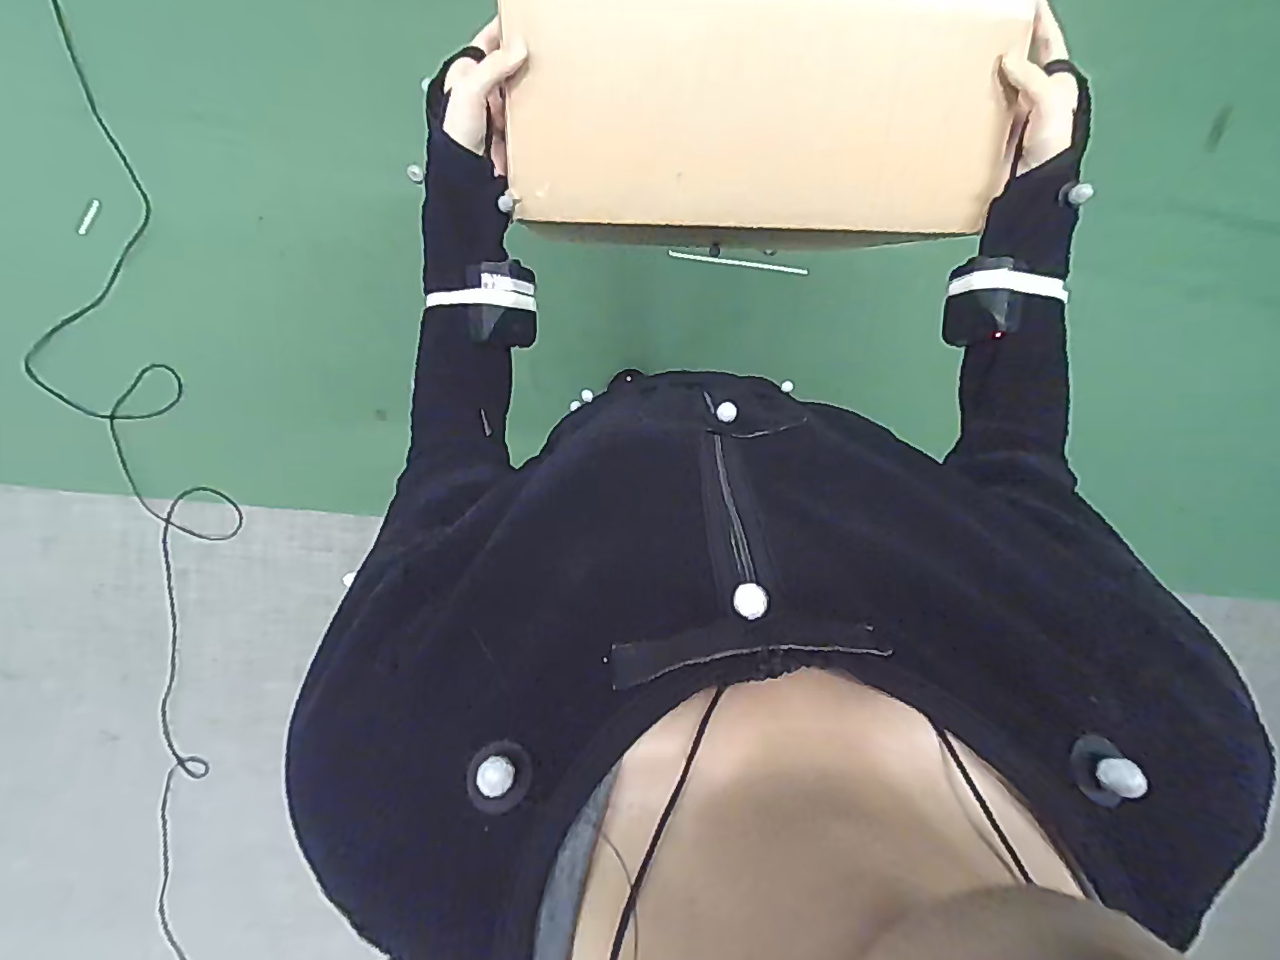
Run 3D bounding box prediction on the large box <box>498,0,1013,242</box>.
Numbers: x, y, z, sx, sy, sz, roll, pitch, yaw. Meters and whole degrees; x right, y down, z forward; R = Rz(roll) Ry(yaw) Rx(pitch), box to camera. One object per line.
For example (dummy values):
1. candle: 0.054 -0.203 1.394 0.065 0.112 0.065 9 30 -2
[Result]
1. large box: 0.085 -0.415 0.550 0.408 0.320 0.320 0 110 -3
